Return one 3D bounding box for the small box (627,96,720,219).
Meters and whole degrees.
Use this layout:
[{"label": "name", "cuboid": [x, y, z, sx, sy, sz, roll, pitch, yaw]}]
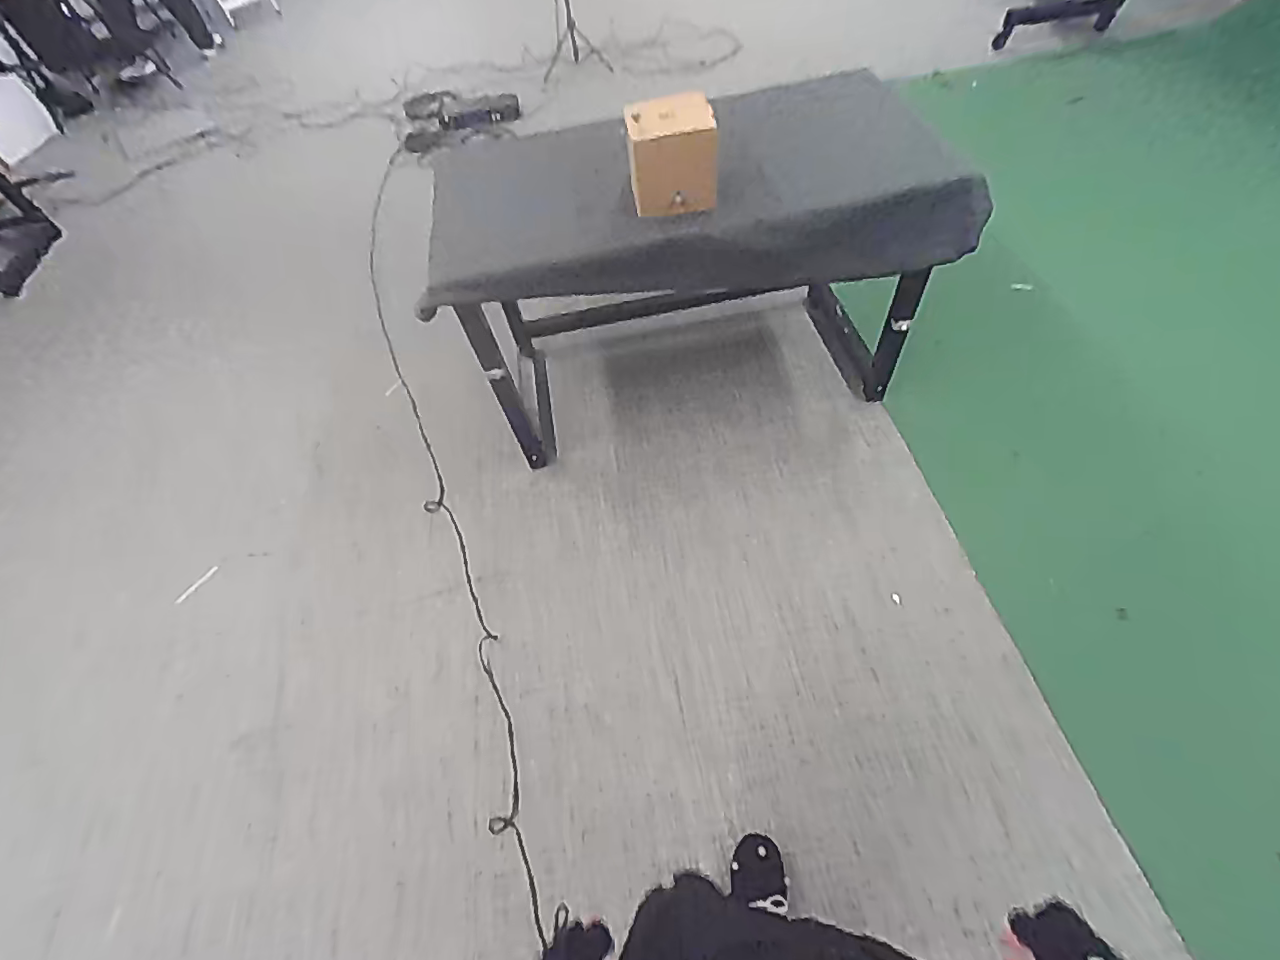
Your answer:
[{"label": "small box", "cuboid": [0.072, -0.703, 1.185, 0.179, 0.176, 0.168, -9, 55, 1]}]
